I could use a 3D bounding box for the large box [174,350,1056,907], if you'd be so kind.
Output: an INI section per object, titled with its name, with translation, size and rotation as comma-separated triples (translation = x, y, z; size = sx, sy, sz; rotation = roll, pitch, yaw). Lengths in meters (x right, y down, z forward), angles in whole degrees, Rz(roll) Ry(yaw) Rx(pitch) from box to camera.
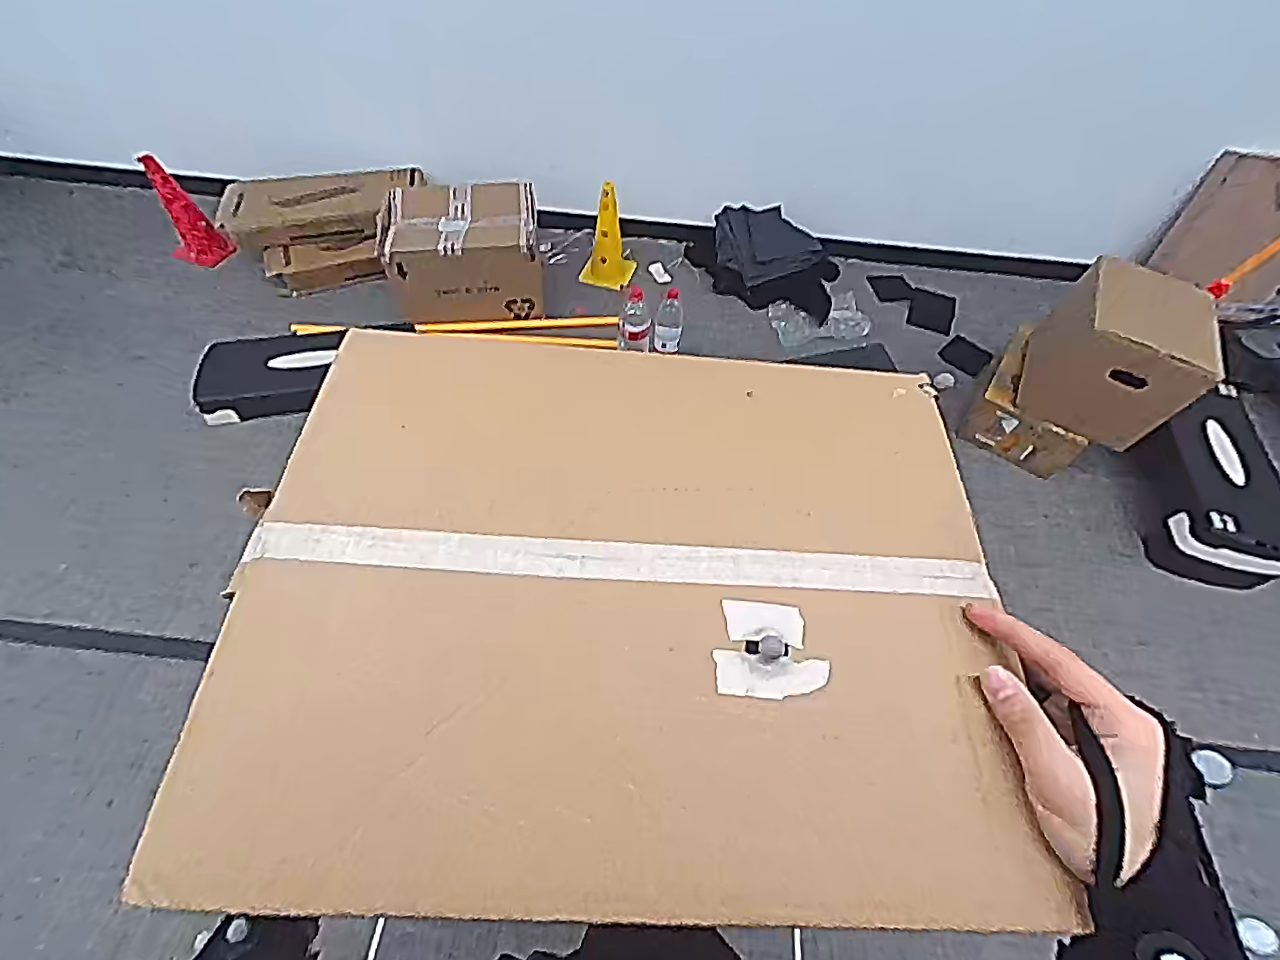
[large box]
translation = -0.012, 0.127, 0.441
size = 0.408, 0.320, 0.320
rotation = 4, 61, -4
